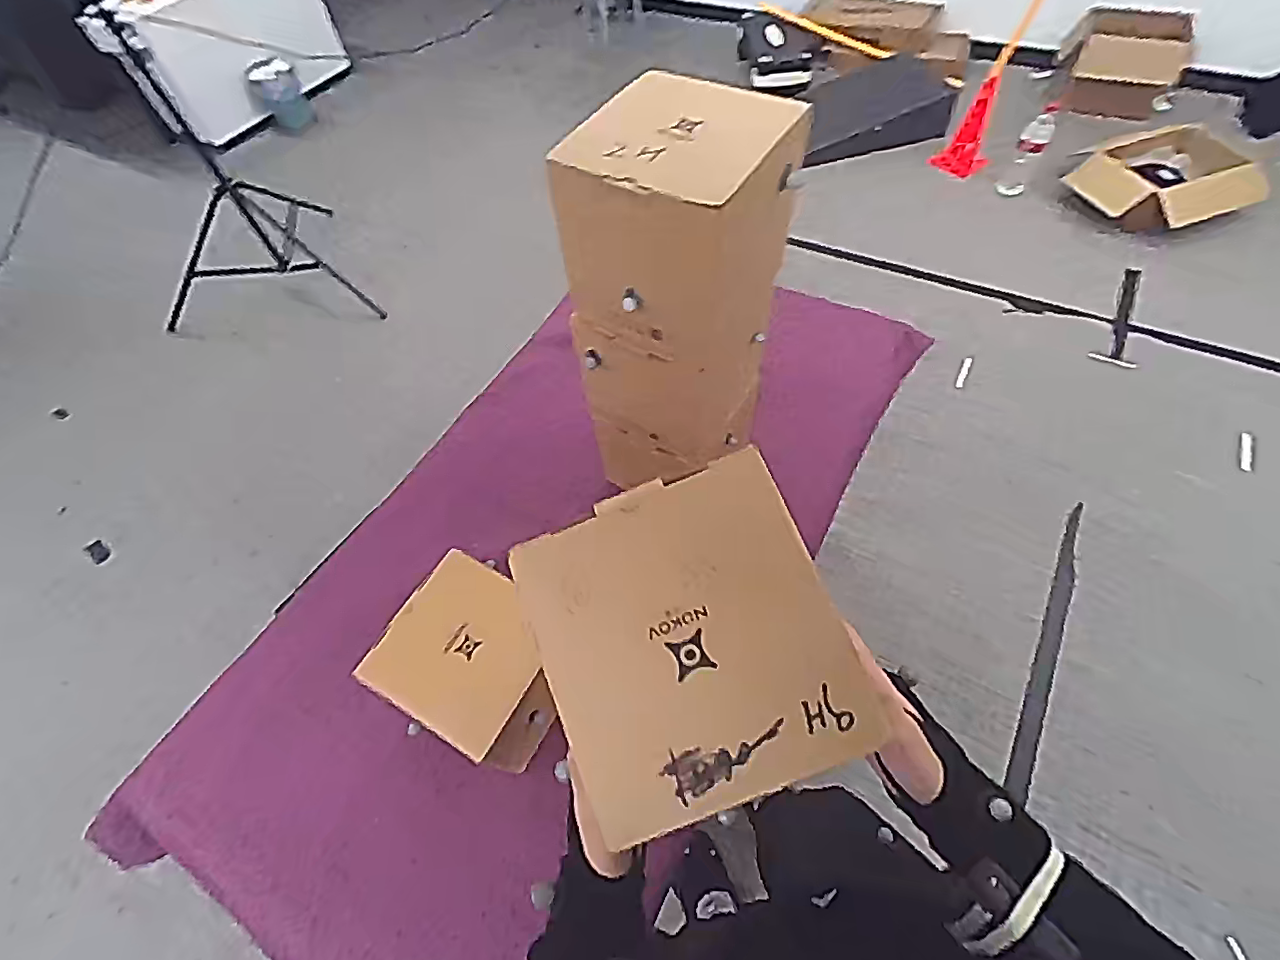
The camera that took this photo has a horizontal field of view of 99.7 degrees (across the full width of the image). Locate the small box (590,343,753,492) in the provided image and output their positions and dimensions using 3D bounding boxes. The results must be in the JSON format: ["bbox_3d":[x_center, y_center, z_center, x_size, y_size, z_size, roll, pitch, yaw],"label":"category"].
[{"bbox_3d":[0.051,-0.074,0.803,0.168,0.176,0.179,27,63,19],"label":"small box"}]

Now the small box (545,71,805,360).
[{"bbox_3d":[0.036,-0.252,0.526,0.168,0.176,0.179,26,64,19],"label":"small box"}]

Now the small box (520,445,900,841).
[{"bbox_3d":[0.042,0.103,0.381,0.168,0.176,0.179,-23,74,4],"label":"small box"}]

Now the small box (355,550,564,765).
[{"bbox_3d":[-0.182,0.216,0.643,0.179,0.176,0.168,23,63,19],"label":"small box"}]
